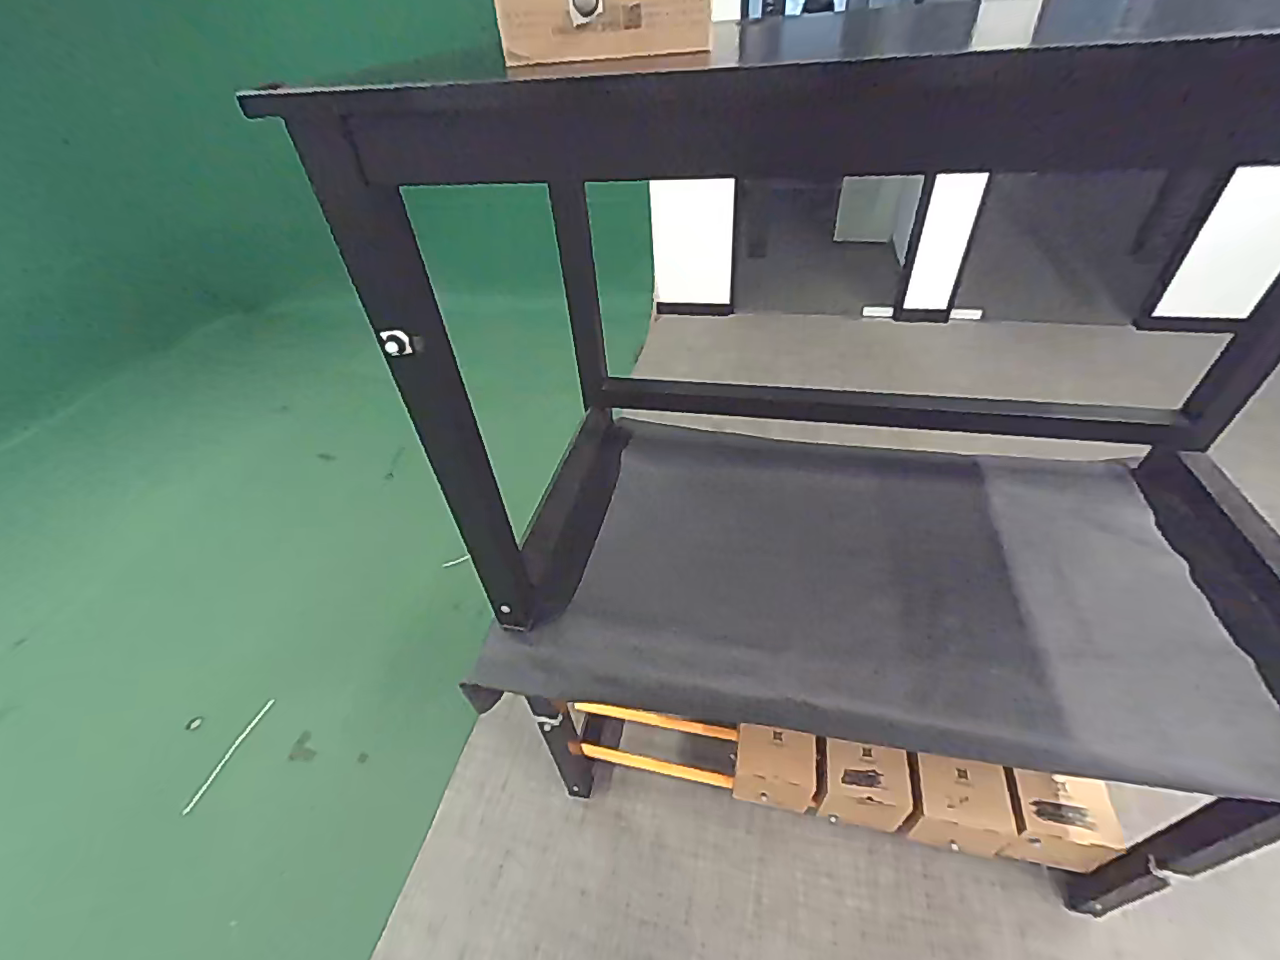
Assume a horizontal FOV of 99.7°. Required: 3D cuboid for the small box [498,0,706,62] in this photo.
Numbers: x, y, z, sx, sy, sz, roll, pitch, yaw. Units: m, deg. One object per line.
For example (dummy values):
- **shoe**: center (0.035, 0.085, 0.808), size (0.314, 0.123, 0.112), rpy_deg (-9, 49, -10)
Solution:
- **small box**: center (-0.033, -0.456, 0.440), size (0.168, 0.176, 0.179), rpy_deg (-3, 43, 4)
